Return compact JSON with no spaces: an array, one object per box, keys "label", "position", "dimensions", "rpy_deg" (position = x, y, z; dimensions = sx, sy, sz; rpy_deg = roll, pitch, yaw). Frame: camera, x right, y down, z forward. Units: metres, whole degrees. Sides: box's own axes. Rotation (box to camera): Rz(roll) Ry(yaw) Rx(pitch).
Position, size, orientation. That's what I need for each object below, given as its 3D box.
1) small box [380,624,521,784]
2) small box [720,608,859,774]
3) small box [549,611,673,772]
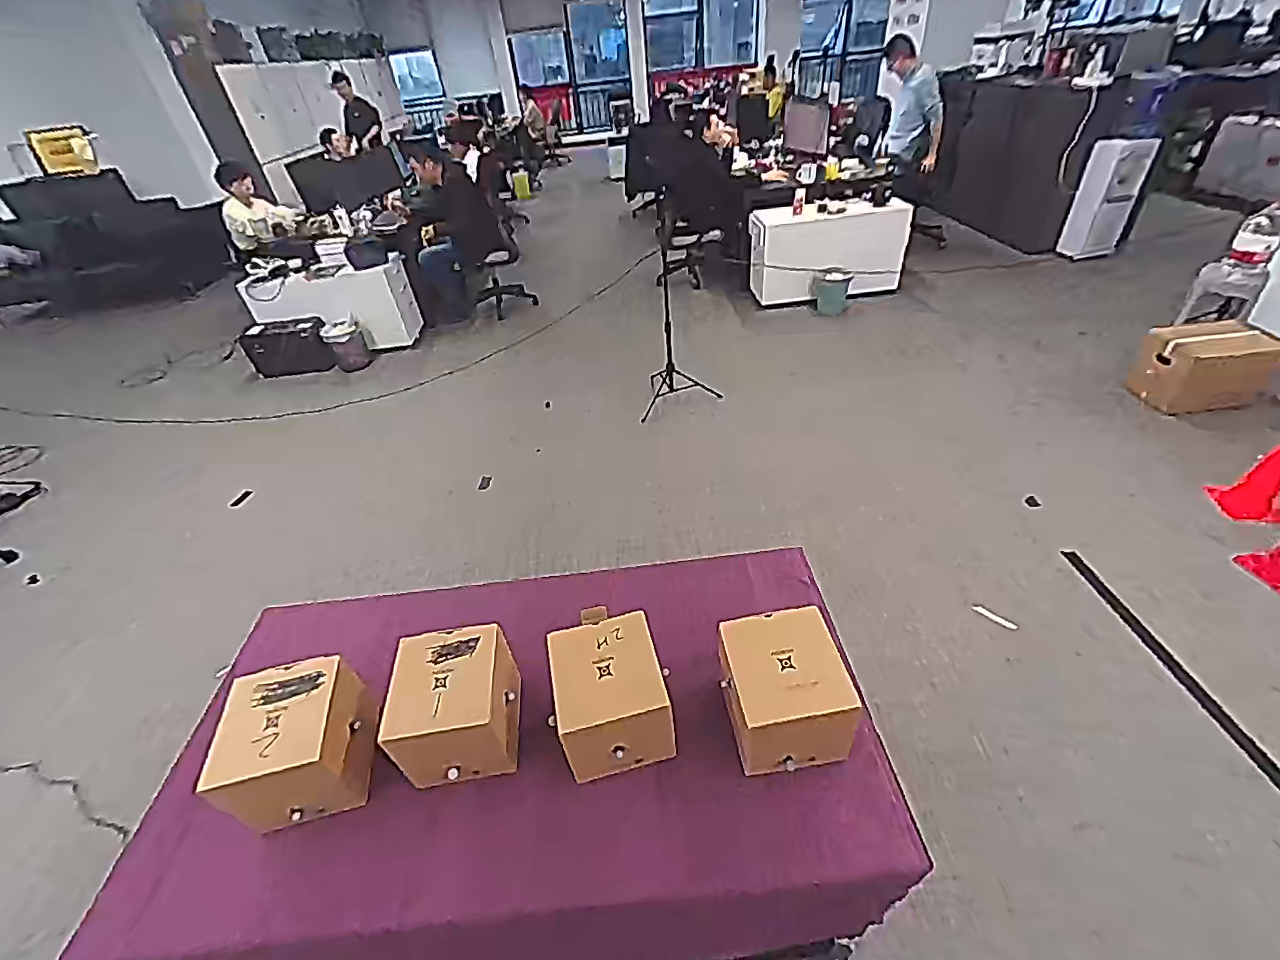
[{"label":"small box","position":[-0.300,0.370,0.899],"dimensions":[0.168,0.176,0.179],"rpy_deg":[-8,40,-2]},{"label":"small box","position":[0.225,0.336,0.866],"dimensions":[0.168,0.176,0.179],"rpy_deg":[-9,38,-2]},{"label":"small box","position":[-0.047,0.350,0.886],"dimensions":[0.168,0.176,0.179],"rpy_deg":[-12,39,-7]}]
